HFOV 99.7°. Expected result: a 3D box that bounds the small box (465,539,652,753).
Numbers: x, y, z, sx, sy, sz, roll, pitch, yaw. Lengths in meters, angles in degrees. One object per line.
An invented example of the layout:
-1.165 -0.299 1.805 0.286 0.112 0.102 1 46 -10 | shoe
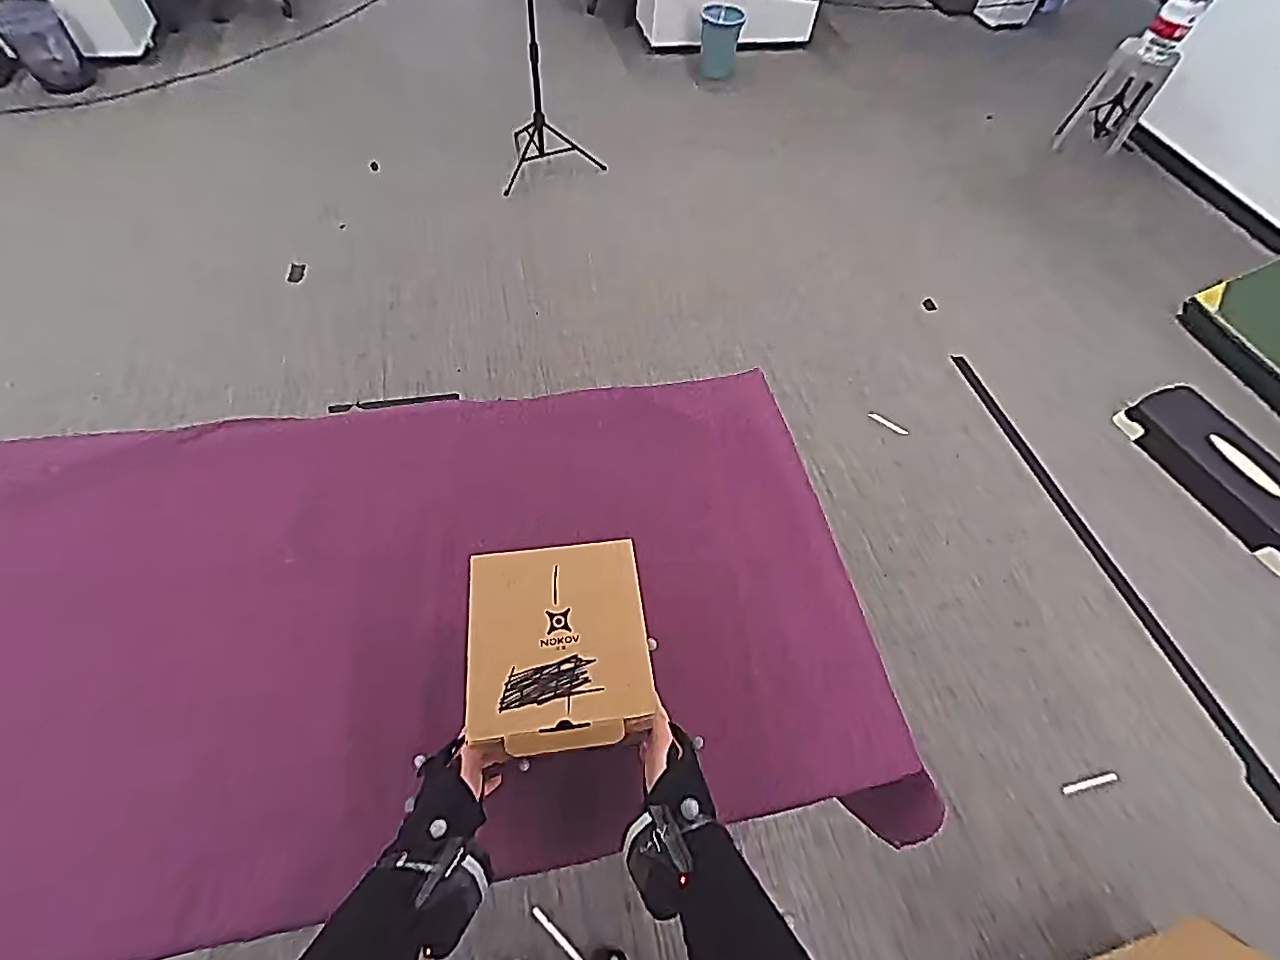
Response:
-0.082 0.183 0.575 0.168 0.176 0.179 -5 57 -7 | small box
